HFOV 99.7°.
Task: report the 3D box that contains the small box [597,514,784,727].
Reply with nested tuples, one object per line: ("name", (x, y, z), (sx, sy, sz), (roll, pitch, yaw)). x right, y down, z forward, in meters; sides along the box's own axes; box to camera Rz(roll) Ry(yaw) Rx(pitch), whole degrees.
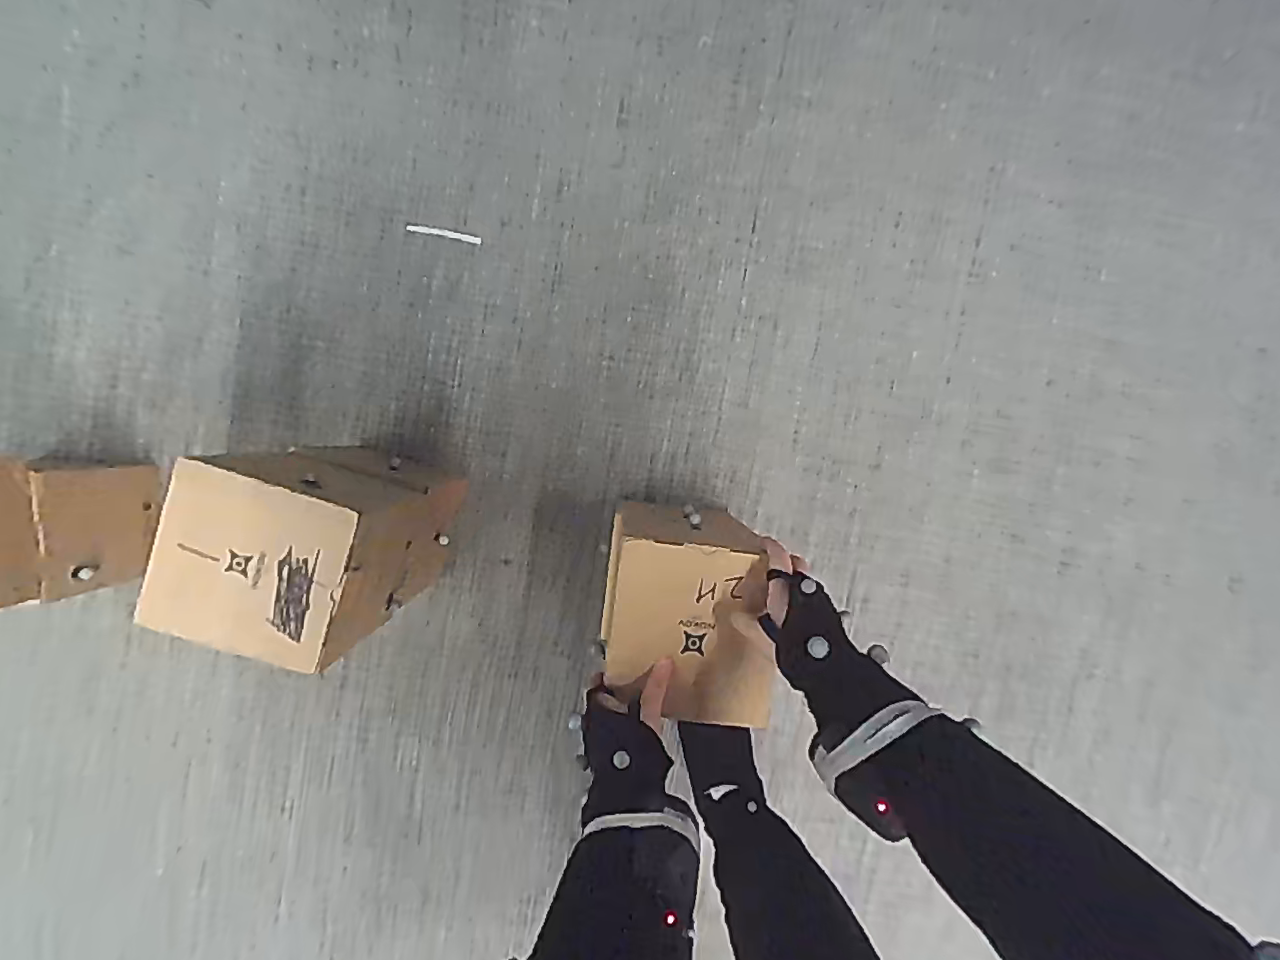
("small box", (0.046, 0.143, 0.605), (0.168, 0.176, 0.179), (6, 94, -3))

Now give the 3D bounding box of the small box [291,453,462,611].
("small box", (-0.368, 0.060, 0.752), (0.179, 0.176, 0.168), (16, 93, -3))

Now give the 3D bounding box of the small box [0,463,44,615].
("small box", (-0.804, 0.073, 0.577), (0.168, 0.176, 0.179), (-1, 93, -2))

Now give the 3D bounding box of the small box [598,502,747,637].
("small box", (0.039, 0.126, 0.769), (0.179, 0.176, 0.168), (6, 94, -3))

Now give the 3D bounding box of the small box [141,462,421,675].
("small box", (-0.366, 0.080, 0.588), (0.179, 0.176, 0.168), (17, 93, -2))
